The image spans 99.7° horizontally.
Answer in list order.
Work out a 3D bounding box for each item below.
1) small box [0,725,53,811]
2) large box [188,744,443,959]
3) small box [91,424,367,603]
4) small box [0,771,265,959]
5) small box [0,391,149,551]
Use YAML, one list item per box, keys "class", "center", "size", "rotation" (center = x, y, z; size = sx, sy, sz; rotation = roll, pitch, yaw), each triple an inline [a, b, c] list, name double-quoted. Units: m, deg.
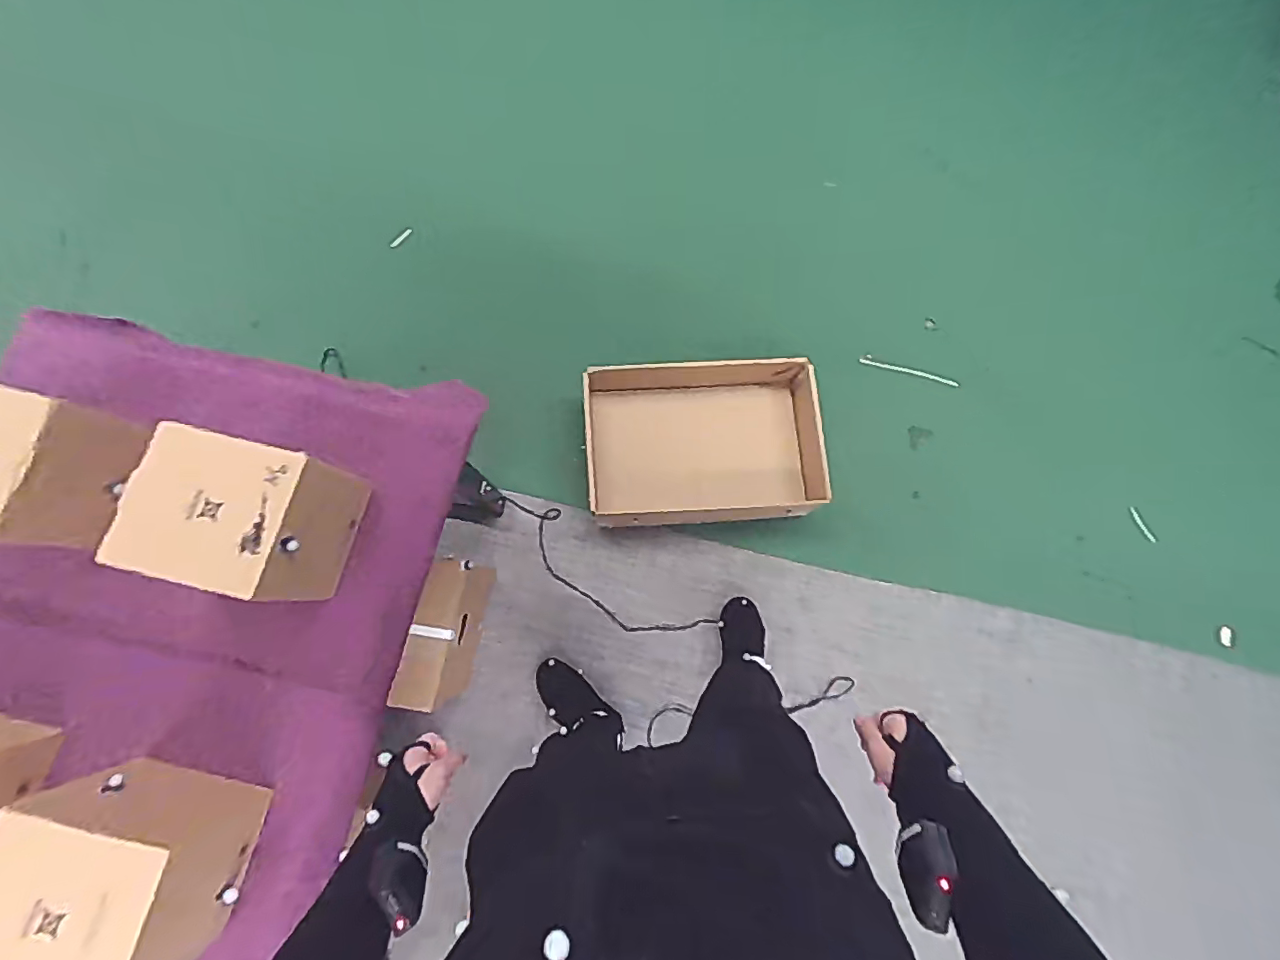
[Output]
- class: "small box"
  center: [-0.825, 0.360, 0.578]
  size: [0.179, 0.176, 0.168]
  rotation: [15, 77, -1]
- class: "large box"
  center: [-0.700, 0.805, 1.164]
  size: [0.408, 0.320, 0.320]
  rotation: [12, 76, 0]
- class: "small box"
  center: [-0.479, 0.050, 0.663]
  size: [0.179, 0.176, 0.168]
  rotation: [14, 78, 2]
- class: "small box"
  center: [-0.560, 0.433, 0.576]
  size: [0.179, 0.176, 0.168]
  rotation: [14, 78, 0]
- class: "small box"
  center: [-0.759, -0.012, 0.660]
  size: [0.179, 0.176, 0.168]
  rotation: [14, 79, -1]
